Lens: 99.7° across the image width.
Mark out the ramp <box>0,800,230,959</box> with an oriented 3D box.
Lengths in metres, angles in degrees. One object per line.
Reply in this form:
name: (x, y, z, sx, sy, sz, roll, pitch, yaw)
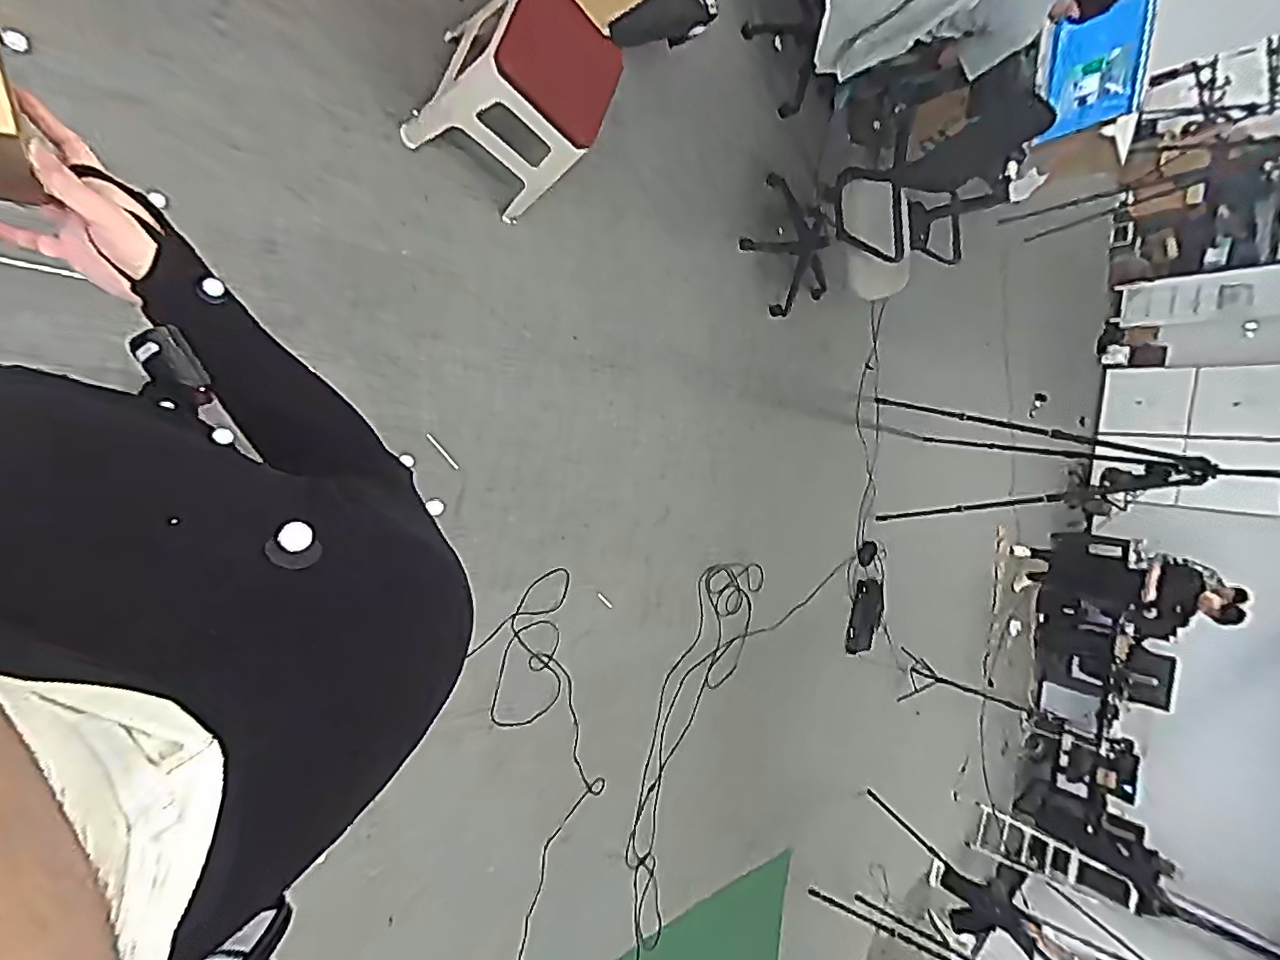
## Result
ramp: (-1.232, 1.309, 1.202, 0.509, 0.206, 0.991, 0, 95, -40)
